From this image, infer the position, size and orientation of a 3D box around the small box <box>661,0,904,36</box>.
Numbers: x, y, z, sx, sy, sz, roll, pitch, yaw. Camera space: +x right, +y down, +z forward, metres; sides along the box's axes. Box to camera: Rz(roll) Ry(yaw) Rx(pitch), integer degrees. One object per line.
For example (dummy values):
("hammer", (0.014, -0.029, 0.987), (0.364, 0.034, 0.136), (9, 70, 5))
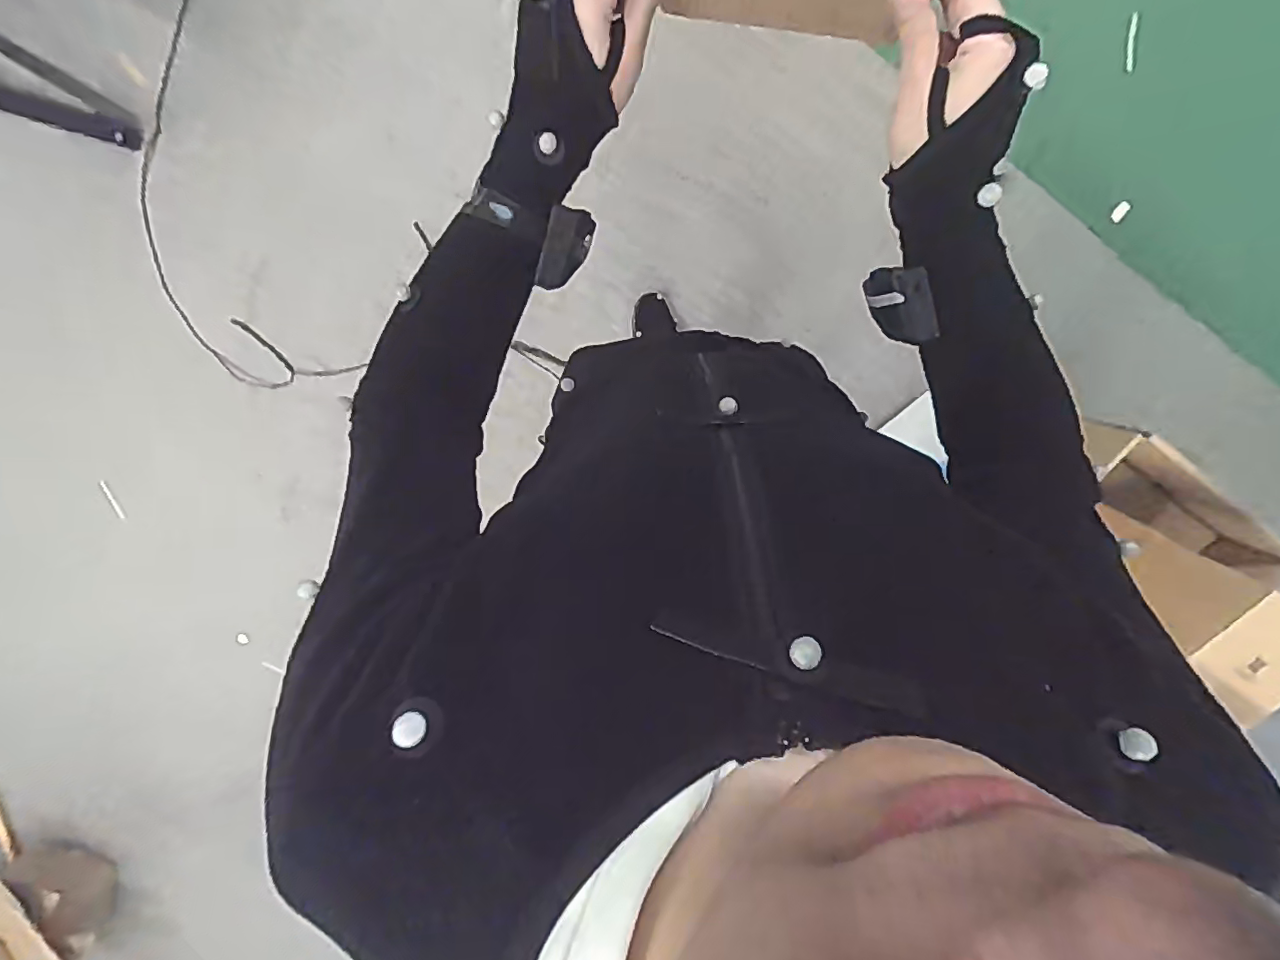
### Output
("small box", (0.100, -0.382, 0.290), (0.179, 0.176, 0.168), (7, 104, 1))

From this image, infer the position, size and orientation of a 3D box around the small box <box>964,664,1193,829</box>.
("small box", (0.628, 0.417, 0.808), (0.168, 0.176, 0.179), (32, 103, -10))
